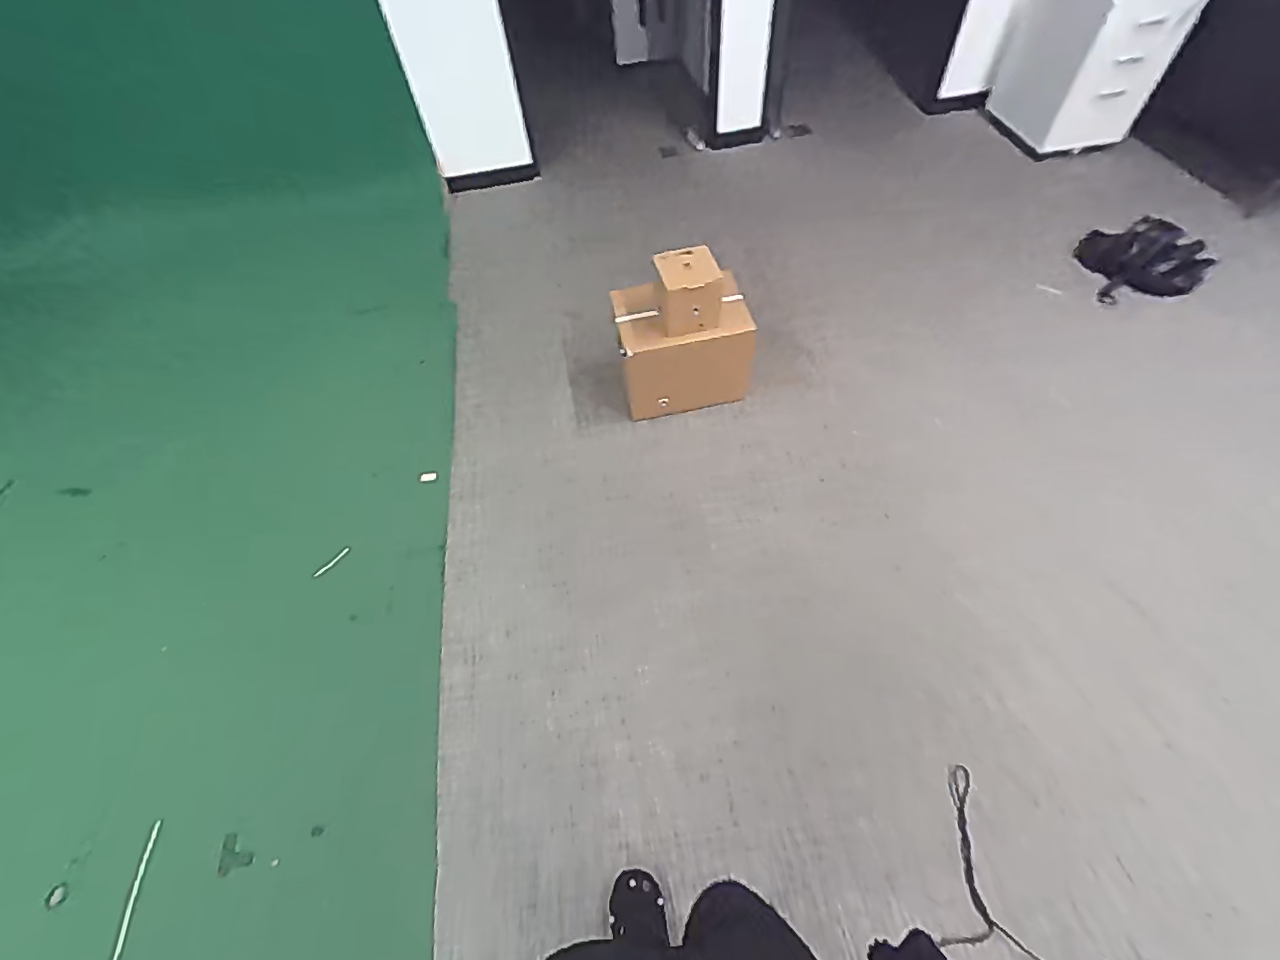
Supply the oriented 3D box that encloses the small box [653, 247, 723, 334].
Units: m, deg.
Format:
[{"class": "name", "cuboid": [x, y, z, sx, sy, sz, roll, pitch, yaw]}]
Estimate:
[{"class": "small box", "cuboid": [0.142, -0.553, 1.604, 0.168, 0.176, 0.179, -13, 57, -4]}]
